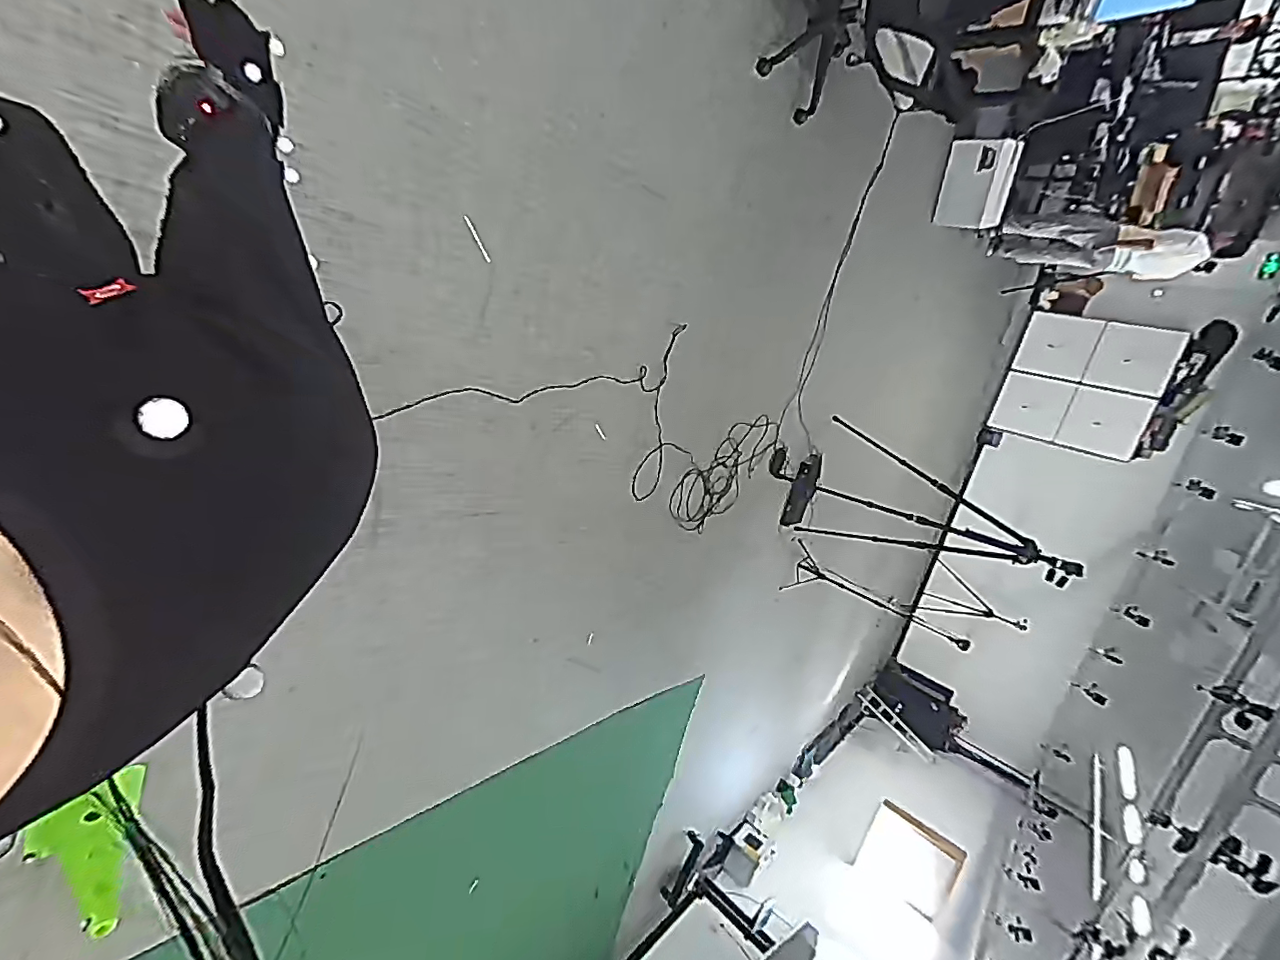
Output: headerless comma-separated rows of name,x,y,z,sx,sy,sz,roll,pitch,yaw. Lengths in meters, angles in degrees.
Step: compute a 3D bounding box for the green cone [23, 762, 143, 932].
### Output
green cone,-1.247,0.869,1.236,0.200,0.368,0.202,3,107,-52
